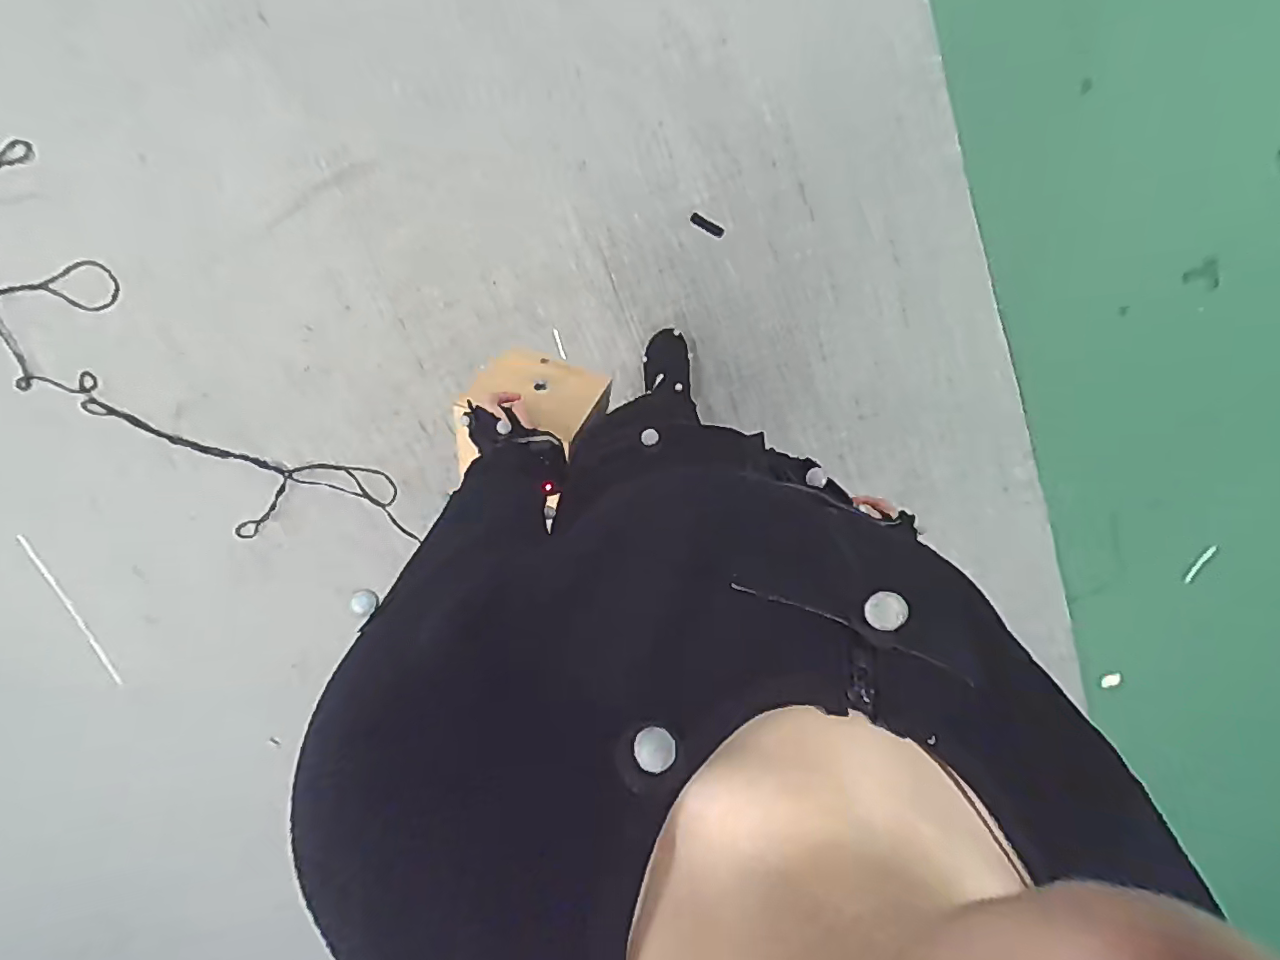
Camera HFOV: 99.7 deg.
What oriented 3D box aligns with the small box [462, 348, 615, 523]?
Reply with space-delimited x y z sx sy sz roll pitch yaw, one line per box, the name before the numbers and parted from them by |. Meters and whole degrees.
small box | -0.147 -0.071 0.819 0.168 0.176 0.179 20 137 7
